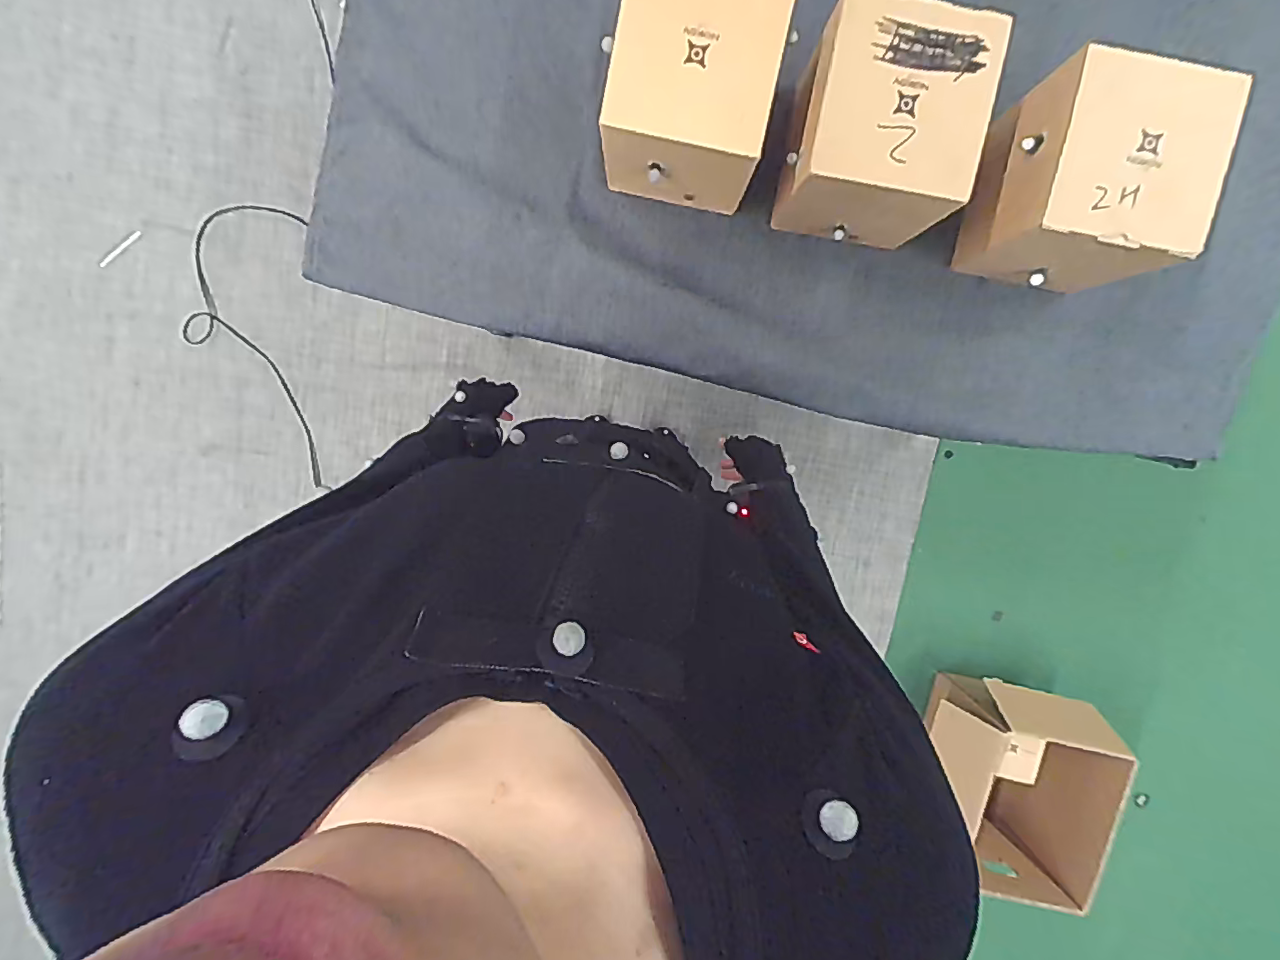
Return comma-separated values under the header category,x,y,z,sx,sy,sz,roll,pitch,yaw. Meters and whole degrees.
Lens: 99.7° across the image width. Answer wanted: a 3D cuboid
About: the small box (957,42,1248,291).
category,x,y,z,sx,sy,sz,roll,pitch,yaw
small box,0.497,-0.334,0.613,0.168,0.176,0.179,11,97,0
